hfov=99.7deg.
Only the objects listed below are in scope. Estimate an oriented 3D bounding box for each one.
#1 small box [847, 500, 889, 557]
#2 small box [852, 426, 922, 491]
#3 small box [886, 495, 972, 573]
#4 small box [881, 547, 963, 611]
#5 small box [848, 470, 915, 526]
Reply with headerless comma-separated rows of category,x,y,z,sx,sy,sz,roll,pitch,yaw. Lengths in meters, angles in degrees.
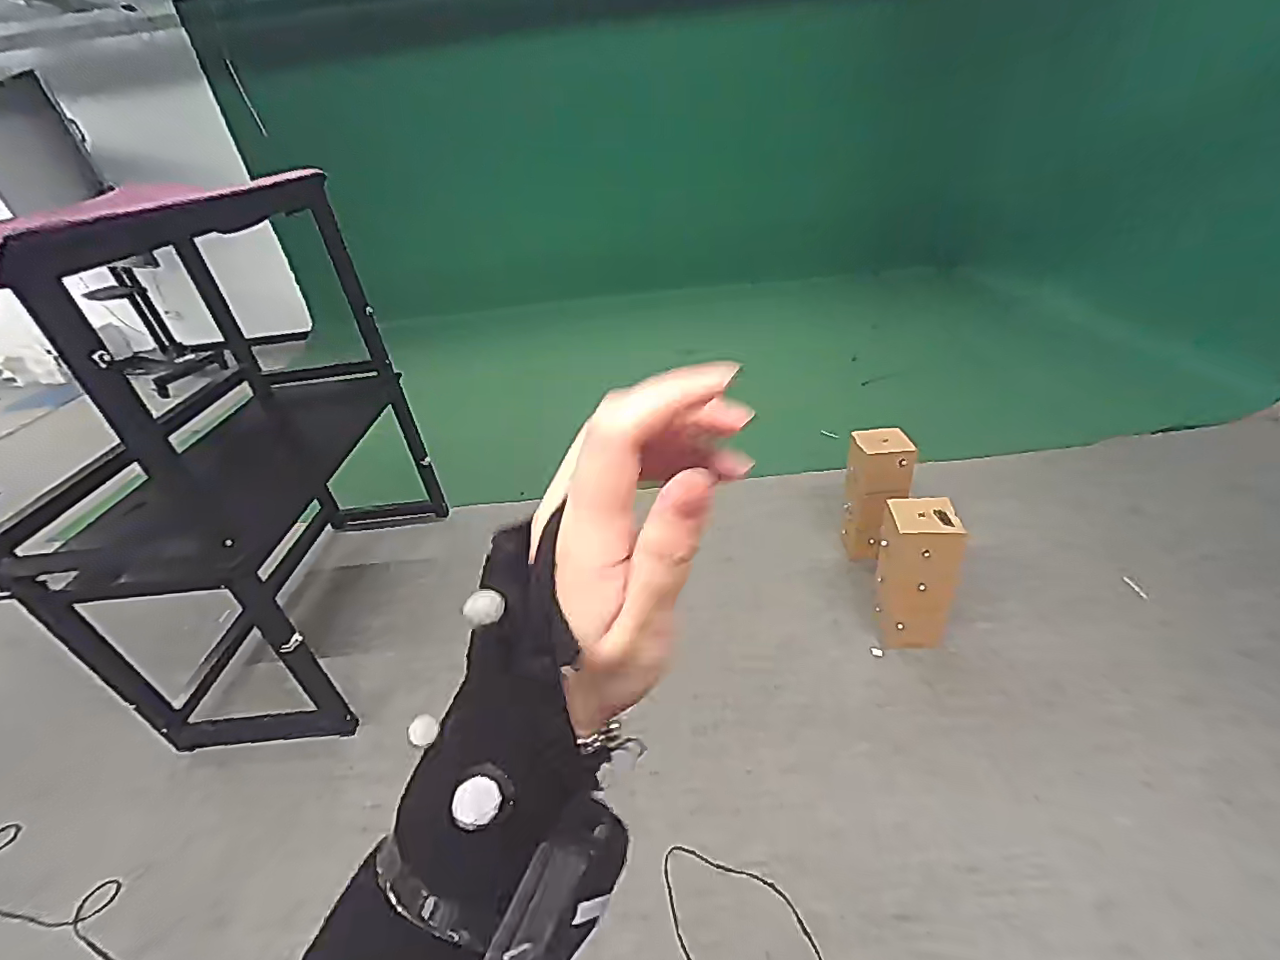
small box,0.921,0.188,2.128,0.179,0.176,0.168,-4,34,7
small box,0.879,-0.077,1.940,0.179,0.176,0.168,-5,33,4
small box,0.846,0.162,1.600,0.179,0.176,0.168,-2,35,12
small box,0.874,0.296,1.692,0.179,0.176,0.168,-2,35,10
small box,0.901,0.057,2.035,0.179,0.176,0.168,-6,33,4
